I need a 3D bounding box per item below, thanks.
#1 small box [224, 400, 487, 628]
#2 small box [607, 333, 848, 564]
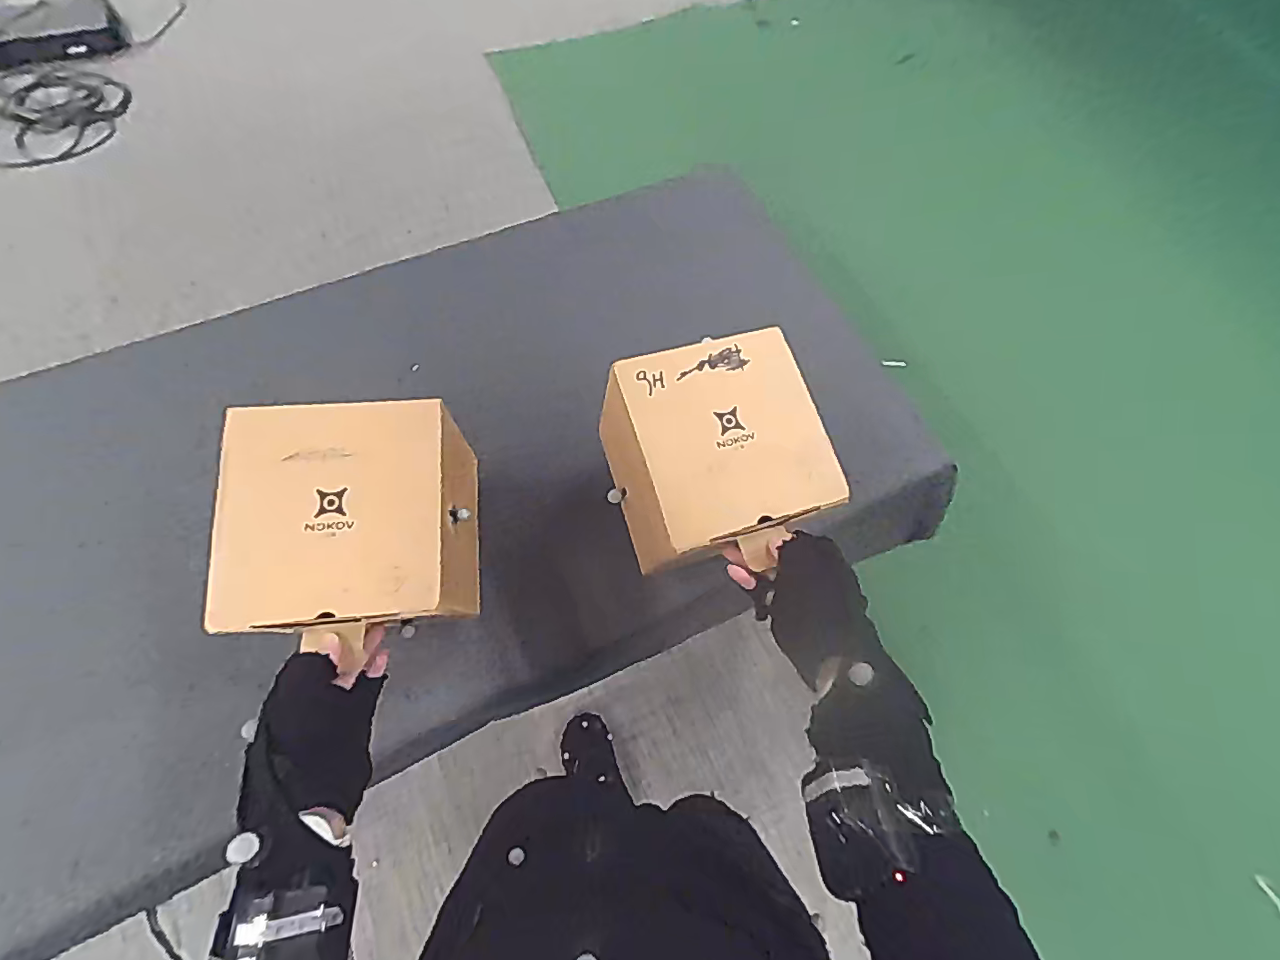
[{"bbox_3d":[-0.239,0.041,0.501,0.168,0.176,0.179,-3,74,-8],"label":"small box"},{"bbox_3d":[0.071,-0.019,0.548,0.168,0.176,0.179,-14,78,-13],"label":"small box"}]
